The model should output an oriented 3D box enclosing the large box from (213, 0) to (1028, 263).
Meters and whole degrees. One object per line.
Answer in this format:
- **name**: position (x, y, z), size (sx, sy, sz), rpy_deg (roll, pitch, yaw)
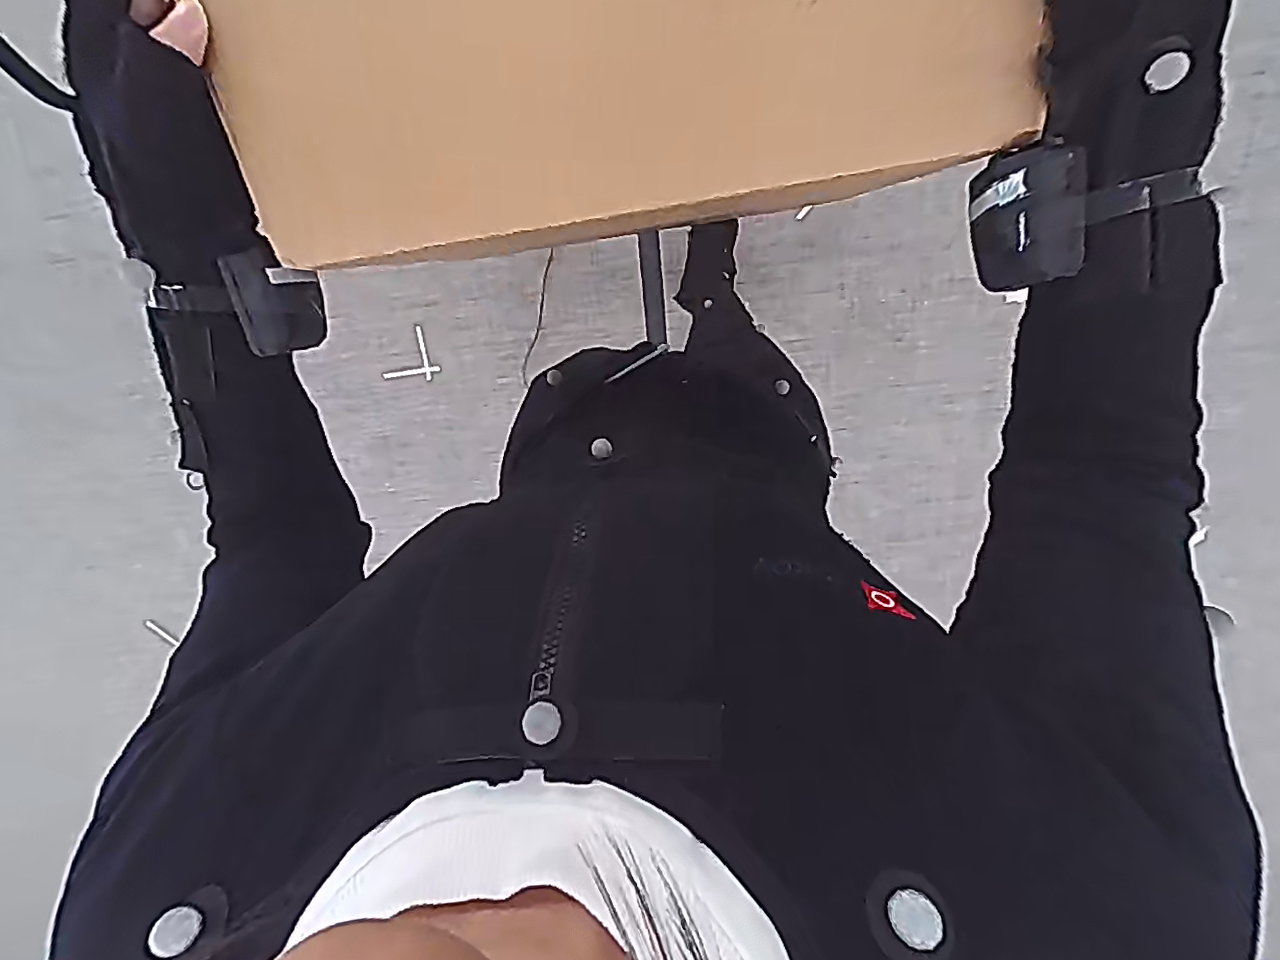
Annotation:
- **large box**: position (-0.019, -0.352, 0.380), size (0.408, 0.320, 0.320), rpy_deg (-7, 113, 6)
